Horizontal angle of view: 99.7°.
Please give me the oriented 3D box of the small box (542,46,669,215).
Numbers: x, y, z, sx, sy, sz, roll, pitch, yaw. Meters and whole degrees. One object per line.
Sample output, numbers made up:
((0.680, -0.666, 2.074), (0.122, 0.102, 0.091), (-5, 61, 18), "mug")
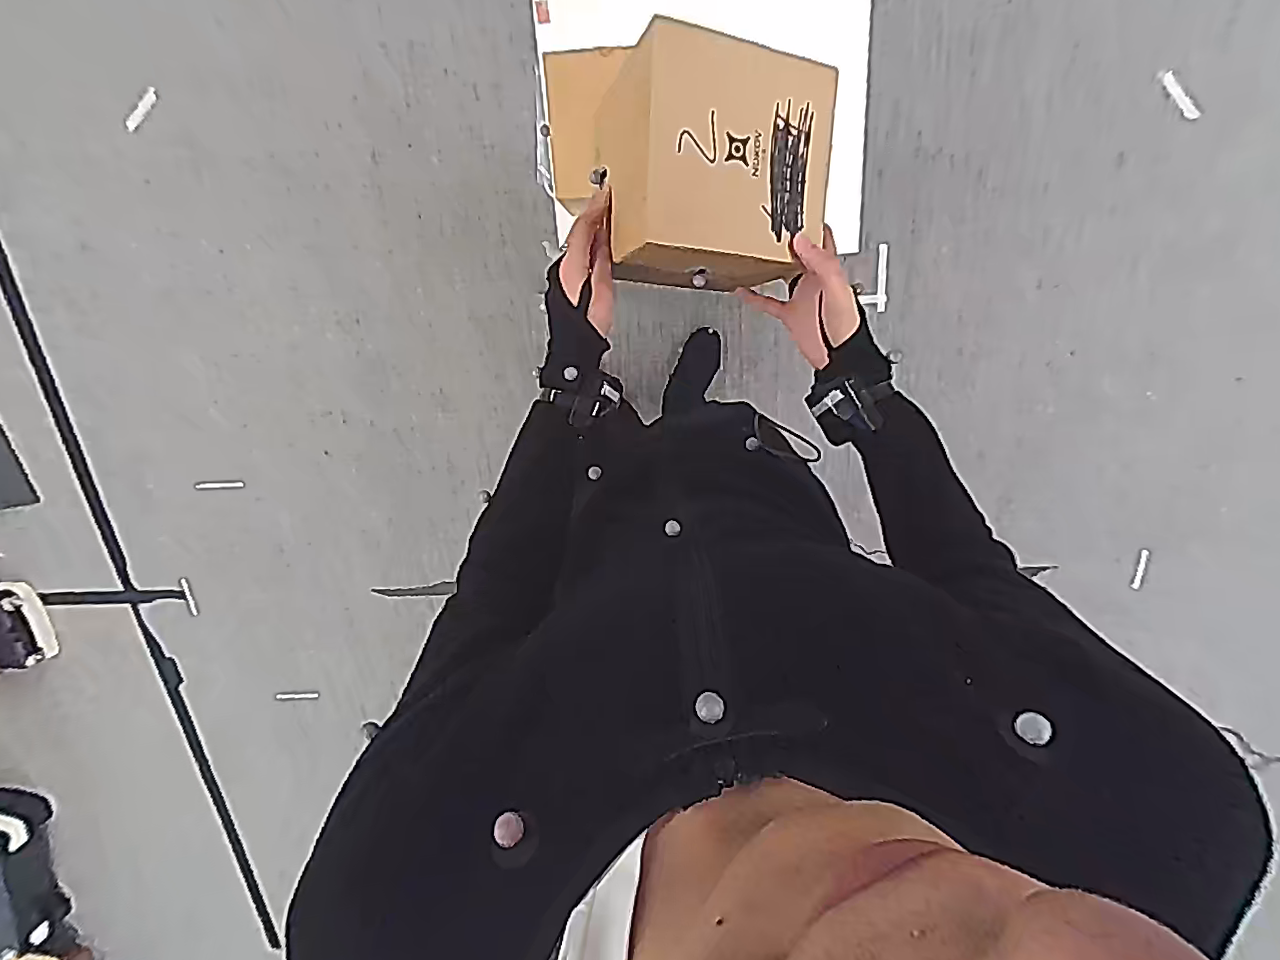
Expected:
((-0.041, -0.496, 0.797), (0.168, 0.176, 0.179), (-3, 108, 1), "small box")
